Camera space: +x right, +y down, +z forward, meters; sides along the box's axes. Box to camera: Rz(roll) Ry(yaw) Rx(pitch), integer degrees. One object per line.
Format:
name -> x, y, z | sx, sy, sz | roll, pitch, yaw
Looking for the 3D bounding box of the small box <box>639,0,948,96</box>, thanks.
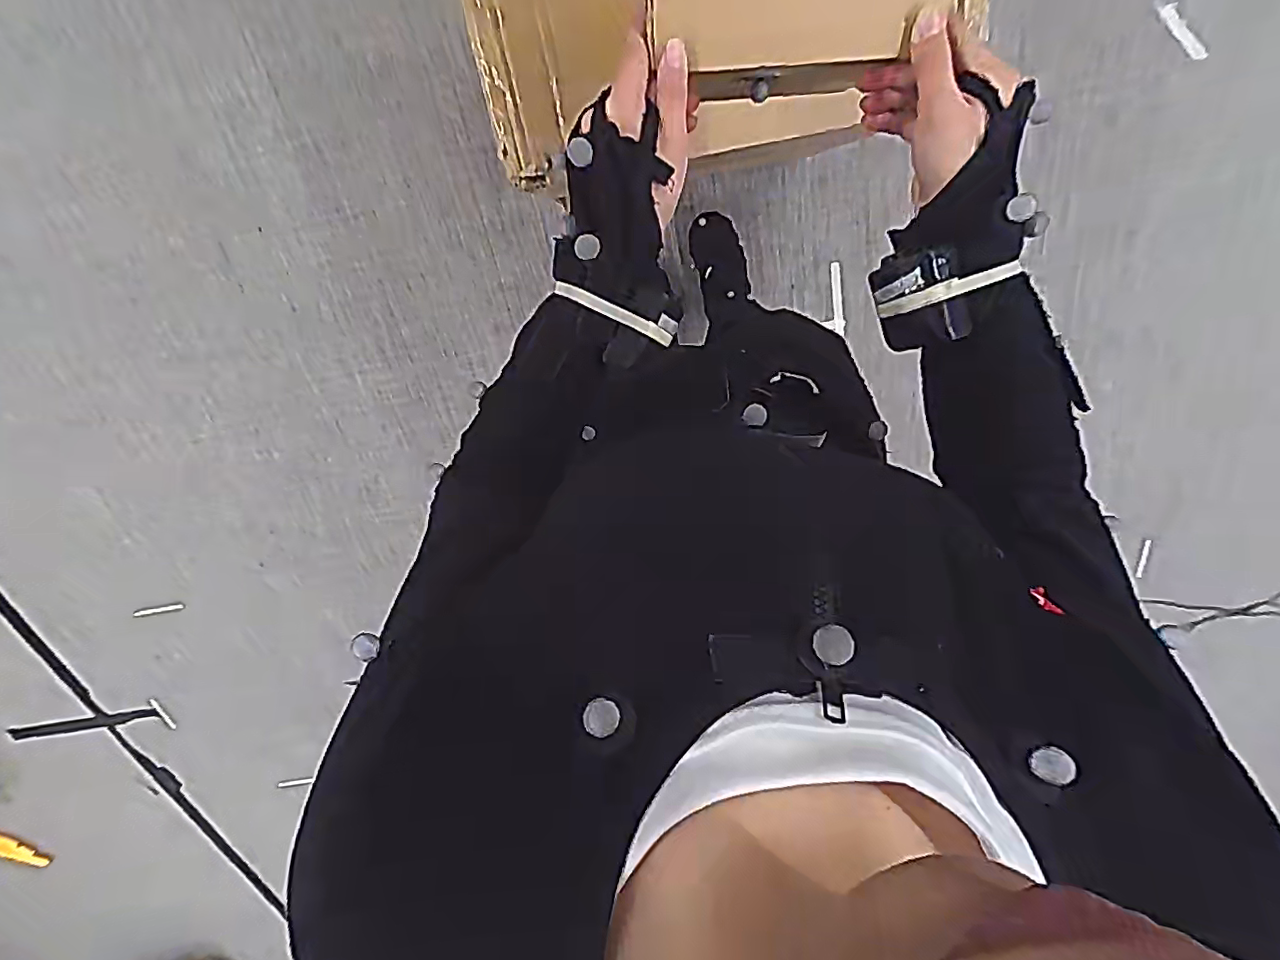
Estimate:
small box -> 0.086, -0.365, 0.353 | 0.179, 0.176, 0.168 | -5, 119, 0
